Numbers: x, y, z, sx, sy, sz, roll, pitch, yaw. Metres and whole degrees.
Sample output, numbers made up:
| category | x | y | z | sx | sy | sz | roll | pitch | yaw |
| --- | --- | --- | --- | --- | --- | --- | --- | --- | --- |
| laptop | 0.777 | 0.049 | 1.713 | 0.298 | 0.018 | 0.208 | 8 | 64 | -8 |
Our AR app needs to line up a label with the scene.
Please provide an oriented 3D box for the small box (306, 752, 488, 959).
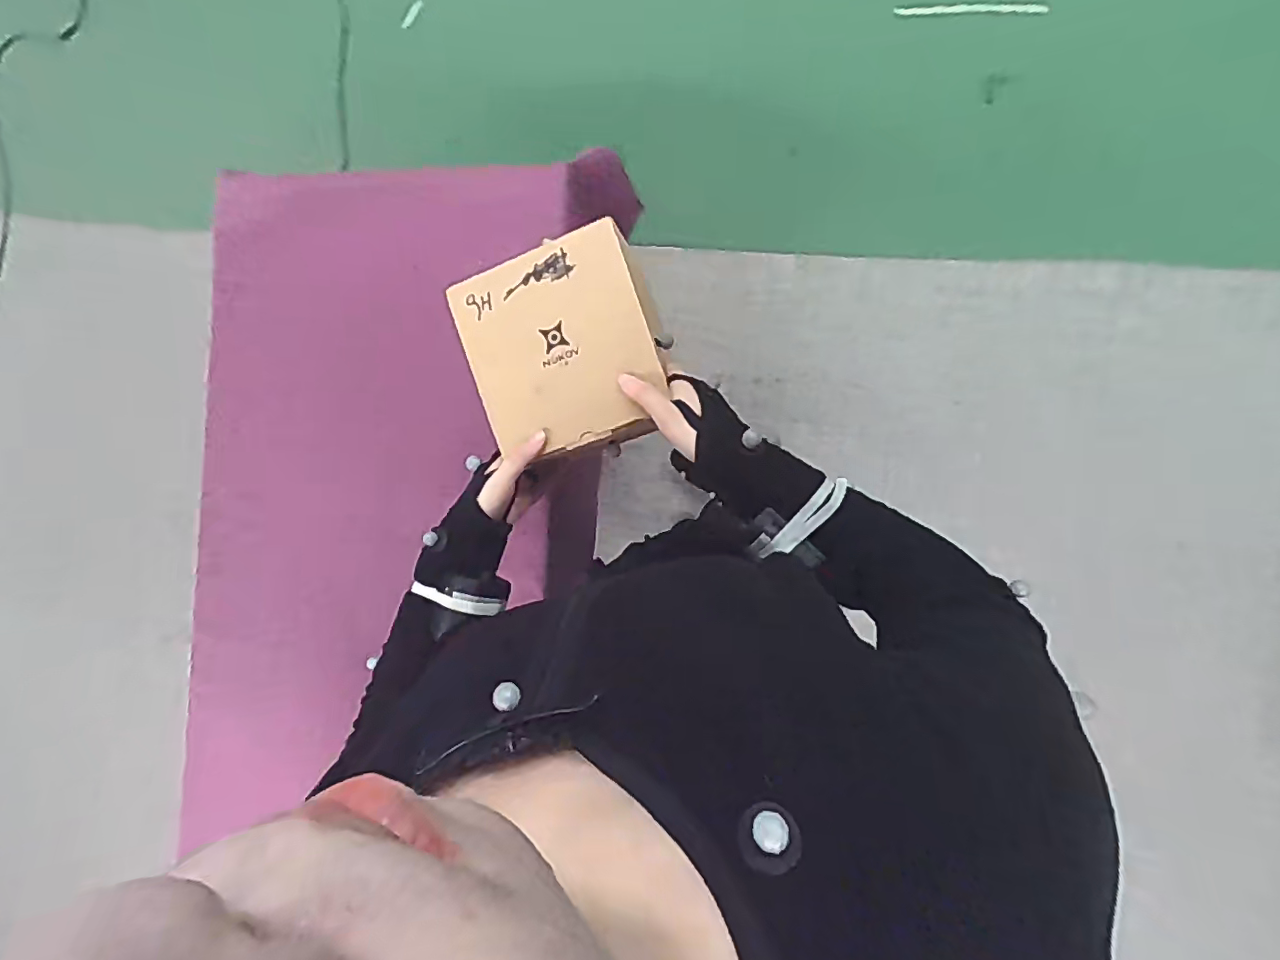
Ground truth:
| category | x | y | z | sx | sy | sz | roll | pitch | yaw |
| --- | --- | --- | --- | --- | --- | --- | --- | --- | --- |
| small box | -0.324 | 0.499 | 0.745 | 0.179 | 0.176 | 0.168 | 1 | 89 | 9 |

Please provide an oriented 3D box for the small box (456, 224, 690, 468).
| category | x | y | z | sx | sy | sz | roll | pitch | yaw |
| --- | --- | --- | --- | --- | --- | --- | --- | --- | --- |
| small box | -0.053 | -0.123 | 0.556 | 0.168 | 0.176 | 0.179 | -17 | 92 | 11 |
